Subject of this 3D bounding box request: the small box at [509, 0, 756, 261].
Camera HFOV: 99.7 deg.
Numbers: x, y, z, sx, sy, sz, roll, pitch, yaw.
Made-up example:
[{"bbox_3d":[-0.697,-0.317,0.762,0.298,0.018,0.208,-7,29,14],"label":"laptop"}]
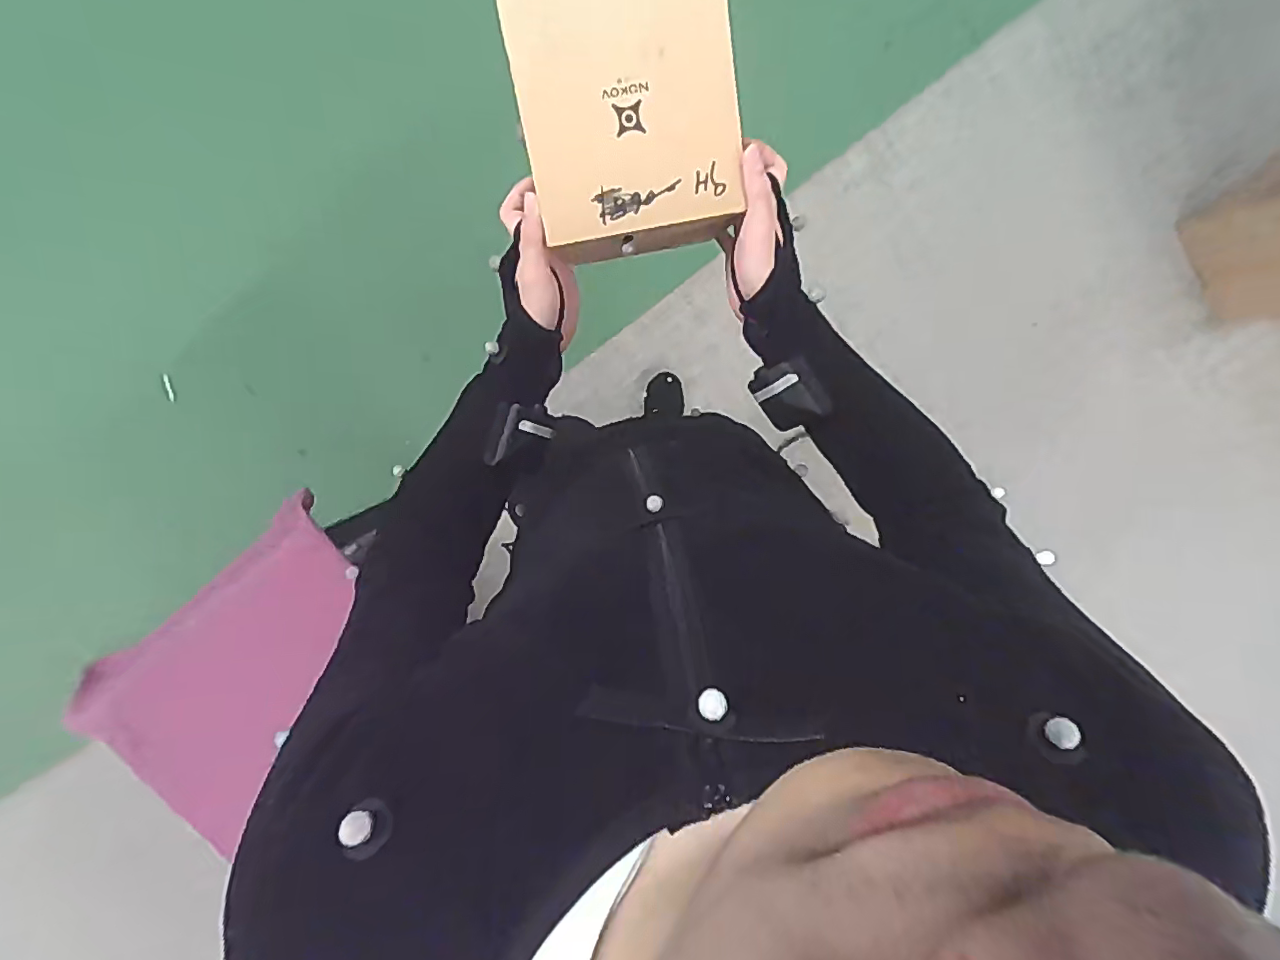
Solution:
[{"bbox_3d":[-0.005,-0.304,0.473,0.168,0.176,0.179,-9,106,1],"label":"small box"}]
